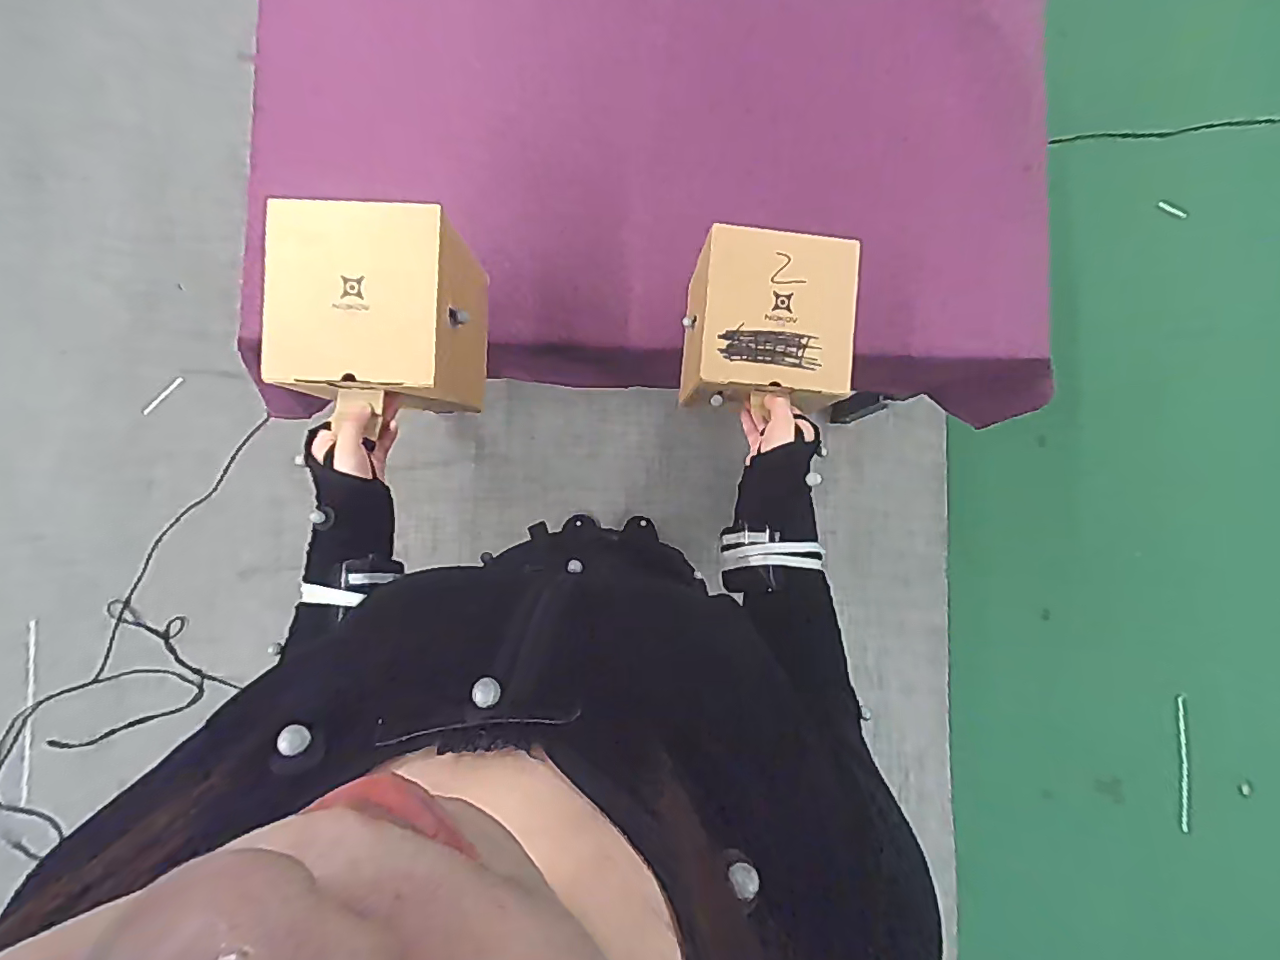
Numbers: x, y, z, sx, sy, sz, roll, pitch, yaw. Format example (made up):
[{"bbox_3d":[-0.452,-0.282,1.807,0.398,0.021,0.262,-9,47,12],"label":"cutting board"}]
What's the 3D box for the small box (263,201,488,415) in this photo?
[{"bbox_3d":[-0.270,-0.172,0.591,0.168,0.176,0.179,2,90,-1],"label":"small box"}]
